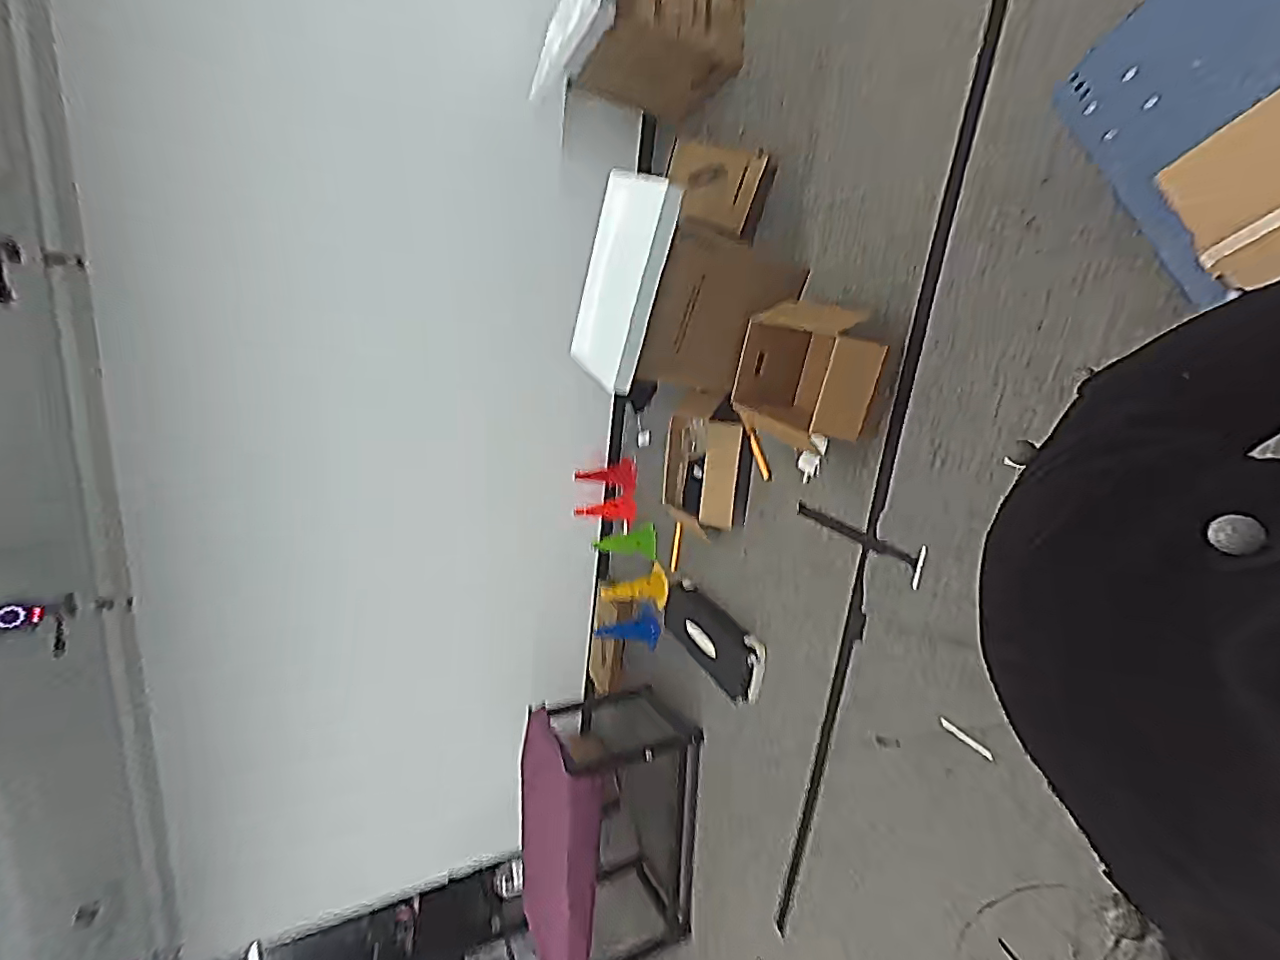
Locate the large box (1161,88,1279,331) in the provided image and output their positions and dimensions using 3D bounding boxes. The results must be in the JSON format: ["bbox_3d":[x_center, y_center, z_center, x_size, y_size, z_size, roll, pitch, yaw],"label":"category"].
[{"bbox_3d":[1.021,-0.397,0.670,0.408,0.320,0.320,-42,55,53],"label":"large box"}]
